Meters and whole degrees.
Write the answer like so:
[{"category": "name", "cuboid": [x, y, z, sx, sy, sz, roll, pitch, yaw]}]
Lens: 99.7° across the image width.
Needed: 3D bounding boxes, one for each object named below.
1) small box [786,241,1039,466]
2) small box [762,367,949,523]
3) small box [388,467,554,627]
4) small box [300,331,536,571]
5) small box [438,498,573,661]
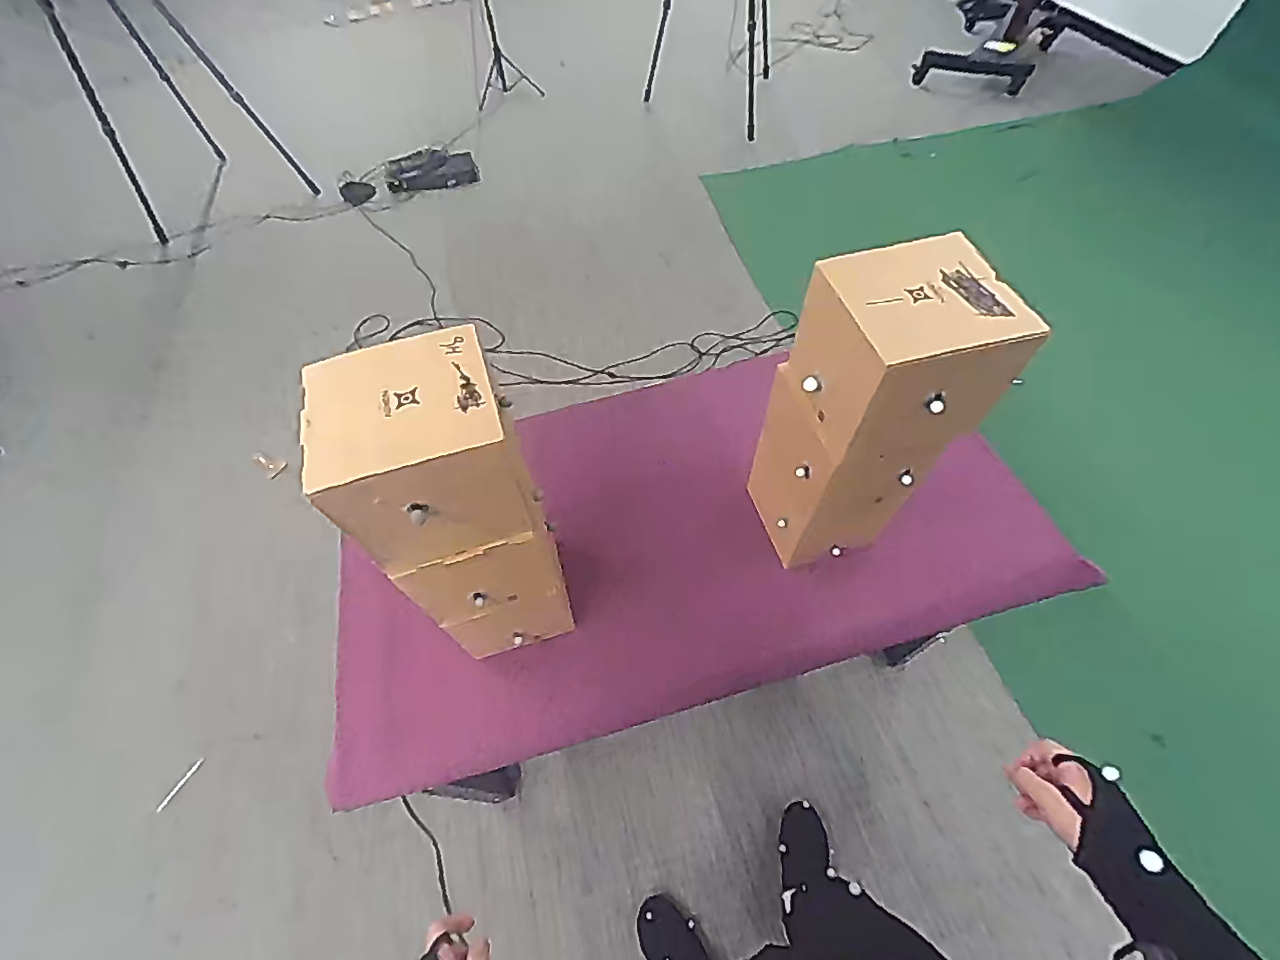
[{"category": "small box", "cuboid": [0.290, -0.140, 0.623, 0.179, 0.176, 0.168, -13, 57, -4]}, {"category": "small box", "cuboid": [0.287, -0.056, 0.764, 0.168, 0.176, 0.179, -15, 57, -6]}, {"category": "small box", "cuboid": [-0.220, 0.068, 0.717, 0.168, 0.176, 0.179, -16, 57, -7]}, {"category": "small box", "cuboid": [-0.228, -0.024, 0.582, 0.179, 0.176, 0.168, -18, 58, -7]}, {"category": "small box", "cuboid": [-0.212, 0.159, 0.852, 0.168, 0.176, 0.179, -15, 57, -6]}]
